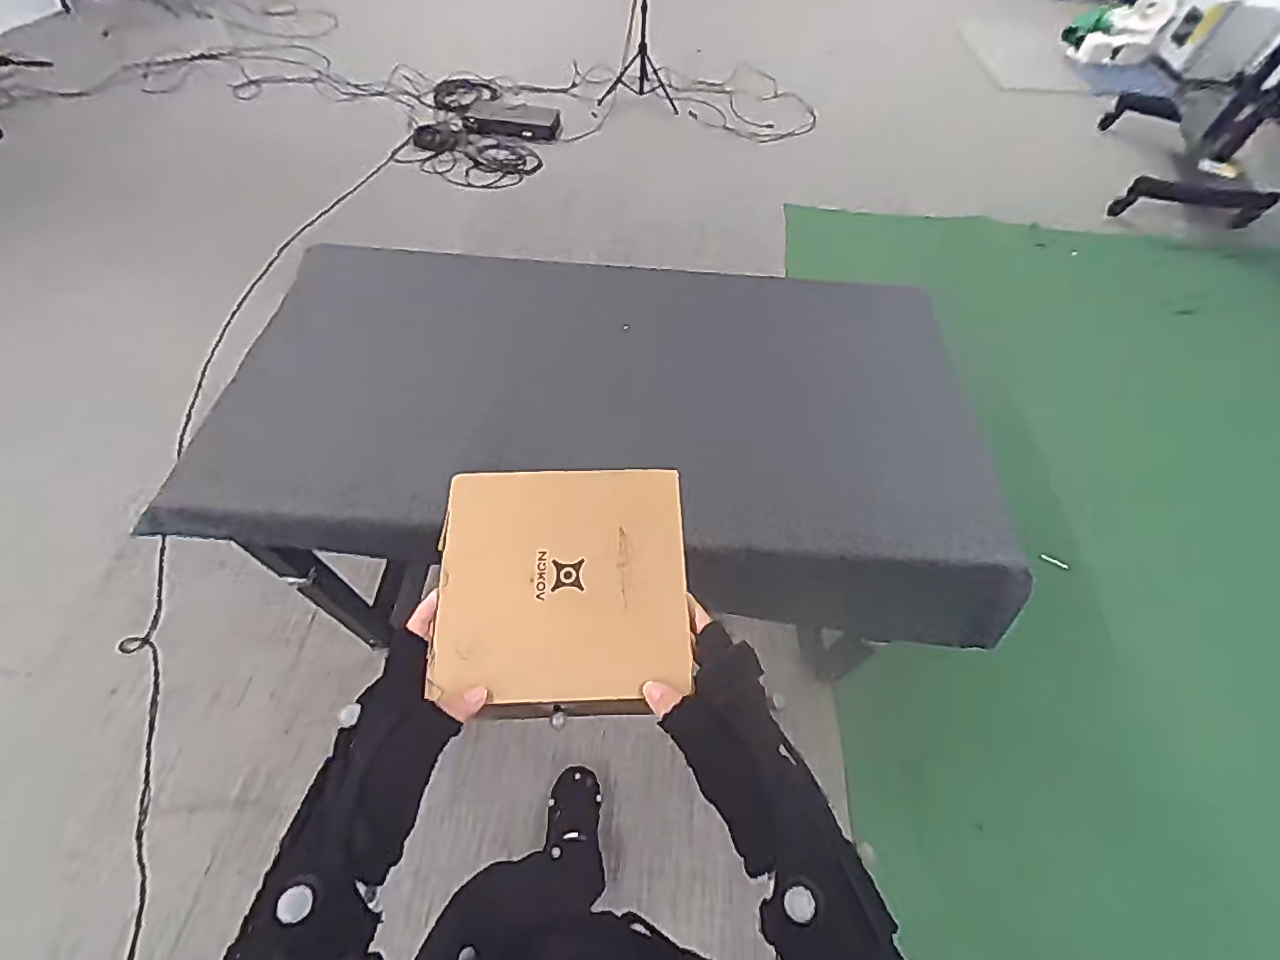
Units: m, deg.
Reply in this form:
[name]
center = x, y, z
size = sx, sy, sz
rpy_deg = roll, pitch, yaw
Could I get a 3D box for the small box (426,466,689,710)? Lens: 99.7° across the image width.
[small box]
center = -0.058, 0.099, 0.459
size = 0.179, 0.176, 0.168
rpy_deg = -1, 64, -3
